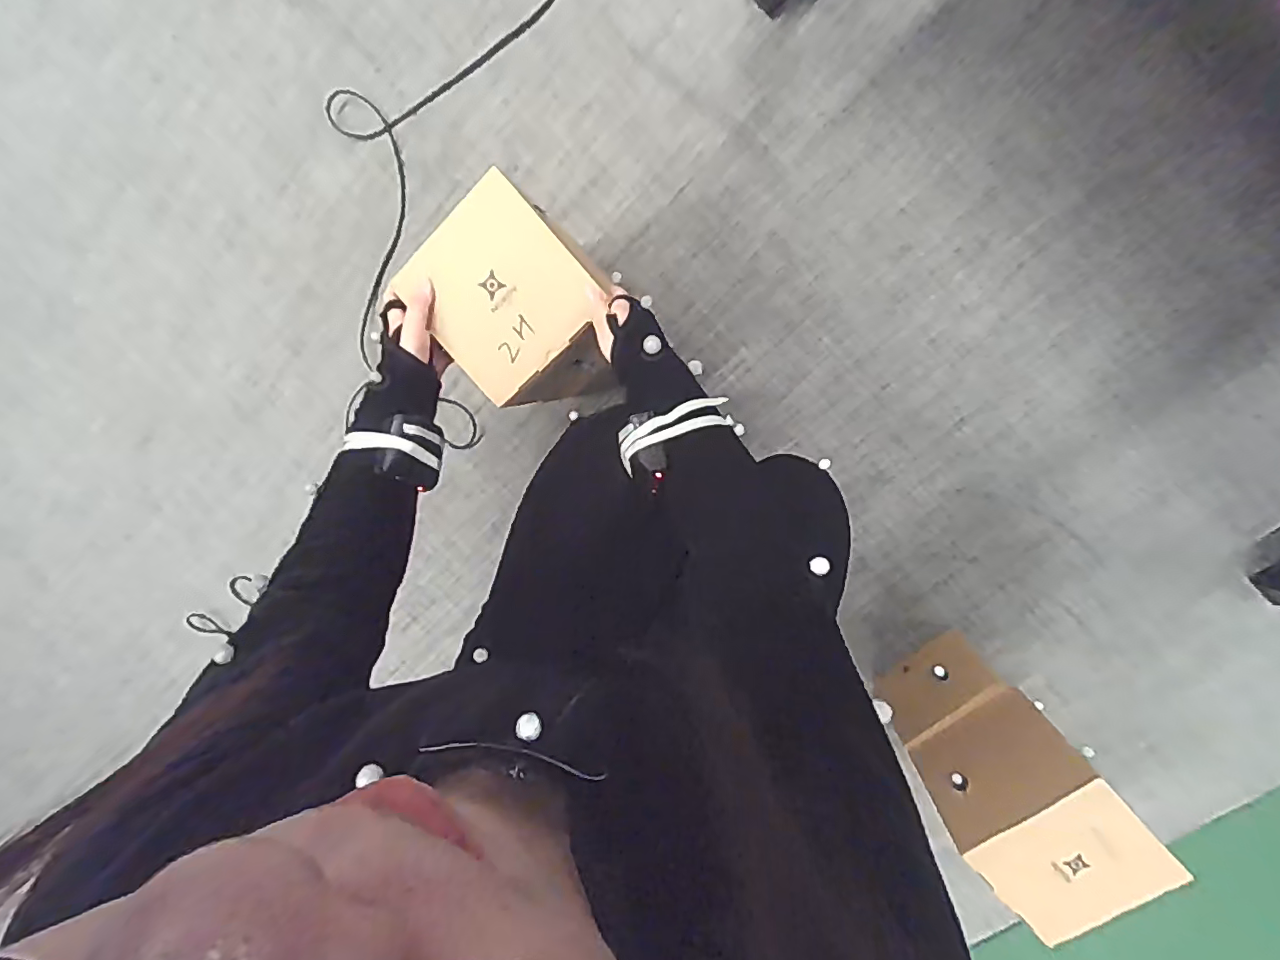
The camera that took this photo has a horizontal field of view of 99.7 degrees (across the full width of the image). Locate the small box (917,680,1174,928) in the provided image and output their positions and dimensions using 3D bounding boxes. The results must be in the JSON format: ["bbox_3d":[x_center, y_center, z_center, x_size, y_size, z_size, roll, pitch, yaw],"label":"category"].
[{"bbox_3d":[0.486,0.398,0.688,0.179,0.176,0.168,-42,96,13],"label":"small box"}]

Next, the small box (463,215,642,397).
[{"bbox_3d":[-0.114,-0.241,0.791,0.179,0.176,0.168,-41,94,12],"label":"small box"}]

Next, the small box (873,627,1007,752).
[{"bbox_3d":[0.500,0.357,0.846,0.179,0.176,0.168,45,104,-3],"label":"small box"}]
